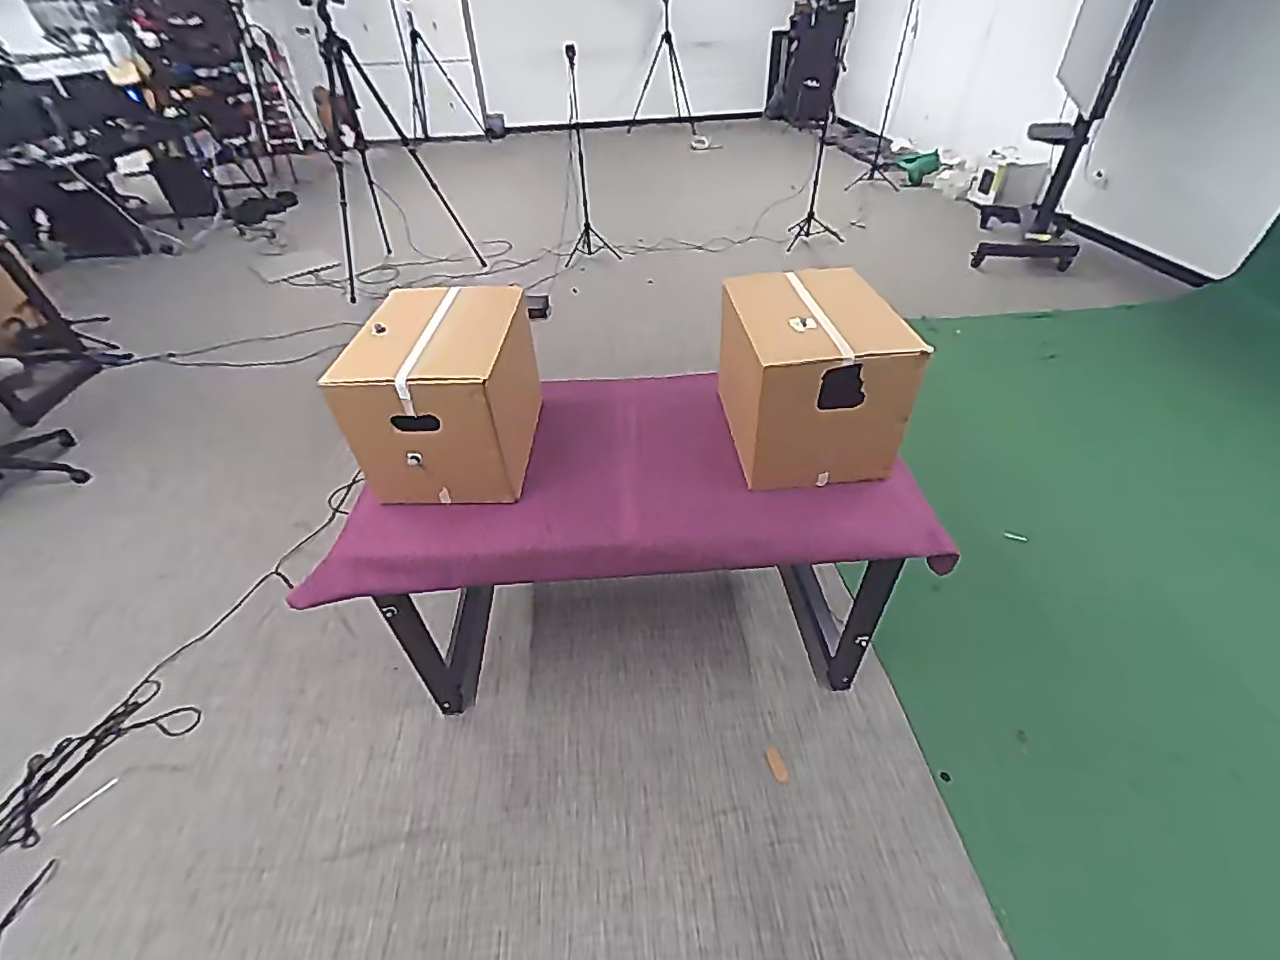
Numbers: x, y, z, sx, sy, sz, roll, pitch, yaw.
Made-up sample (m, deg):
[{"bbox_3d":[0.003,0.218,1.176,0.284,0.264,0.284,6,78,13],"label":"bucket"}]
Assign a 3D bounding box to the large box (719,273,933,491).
[{"bbox_3d":[0.369,-0.230,1.216,0.320,0.320,0.408,-6,42,0],"label":"large box"}]
